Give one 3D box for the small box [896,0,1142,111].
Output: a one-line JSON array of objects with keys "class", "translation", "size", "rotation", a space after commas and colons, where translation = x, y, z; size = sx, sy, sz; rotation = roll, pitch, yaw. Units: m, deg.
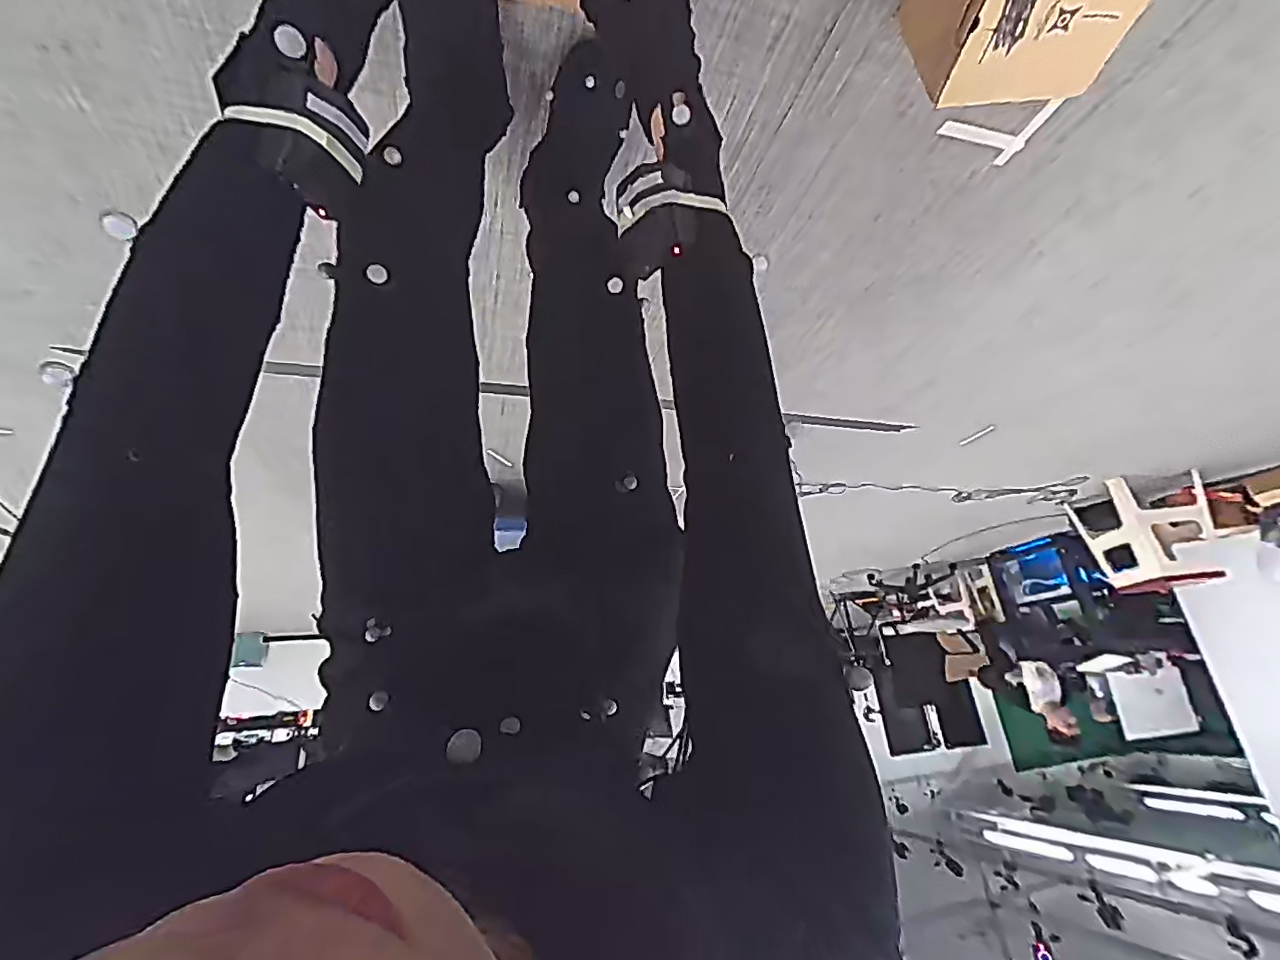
[{"class": "small box", "translation": [0.407, -0.537, 0.582], "size": [0.179, 0.176, 0.168], "rotation": [-5, 158, -1]}]
